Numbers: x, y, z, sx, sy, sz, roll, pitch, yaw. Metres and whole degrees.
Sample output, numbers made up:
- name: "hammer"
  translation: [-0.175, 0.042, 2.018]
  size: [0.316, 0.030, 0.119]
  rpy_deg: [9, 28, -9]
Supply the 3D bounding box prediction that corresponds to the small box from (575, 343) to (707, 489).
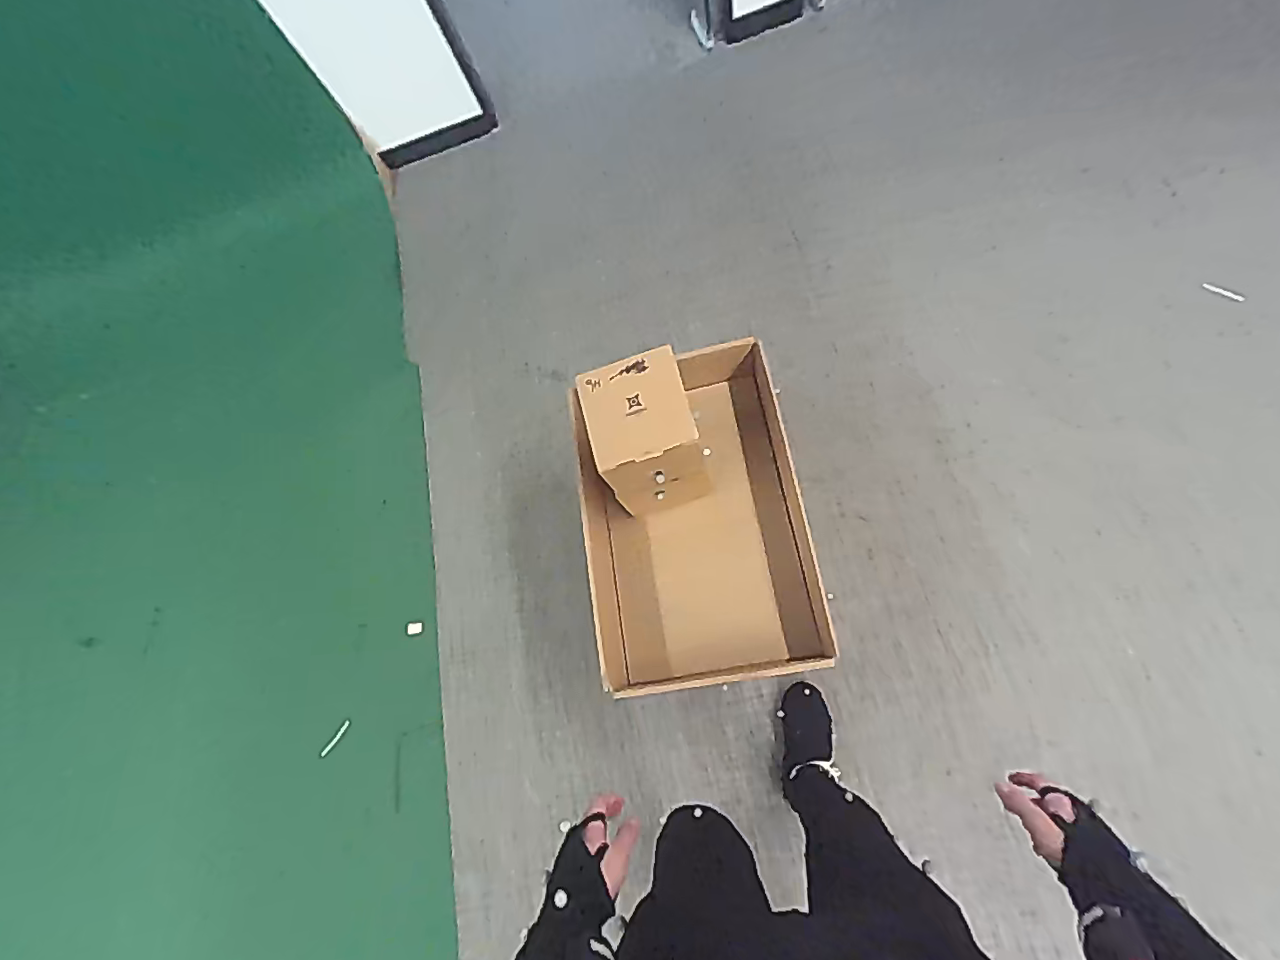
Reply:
- name: "small box"
  translation: [0.009, -0.094, 0.910]
  size: [0.168, 0.176, 0.179]
  rpy_deg: [-17, 72, 7]
